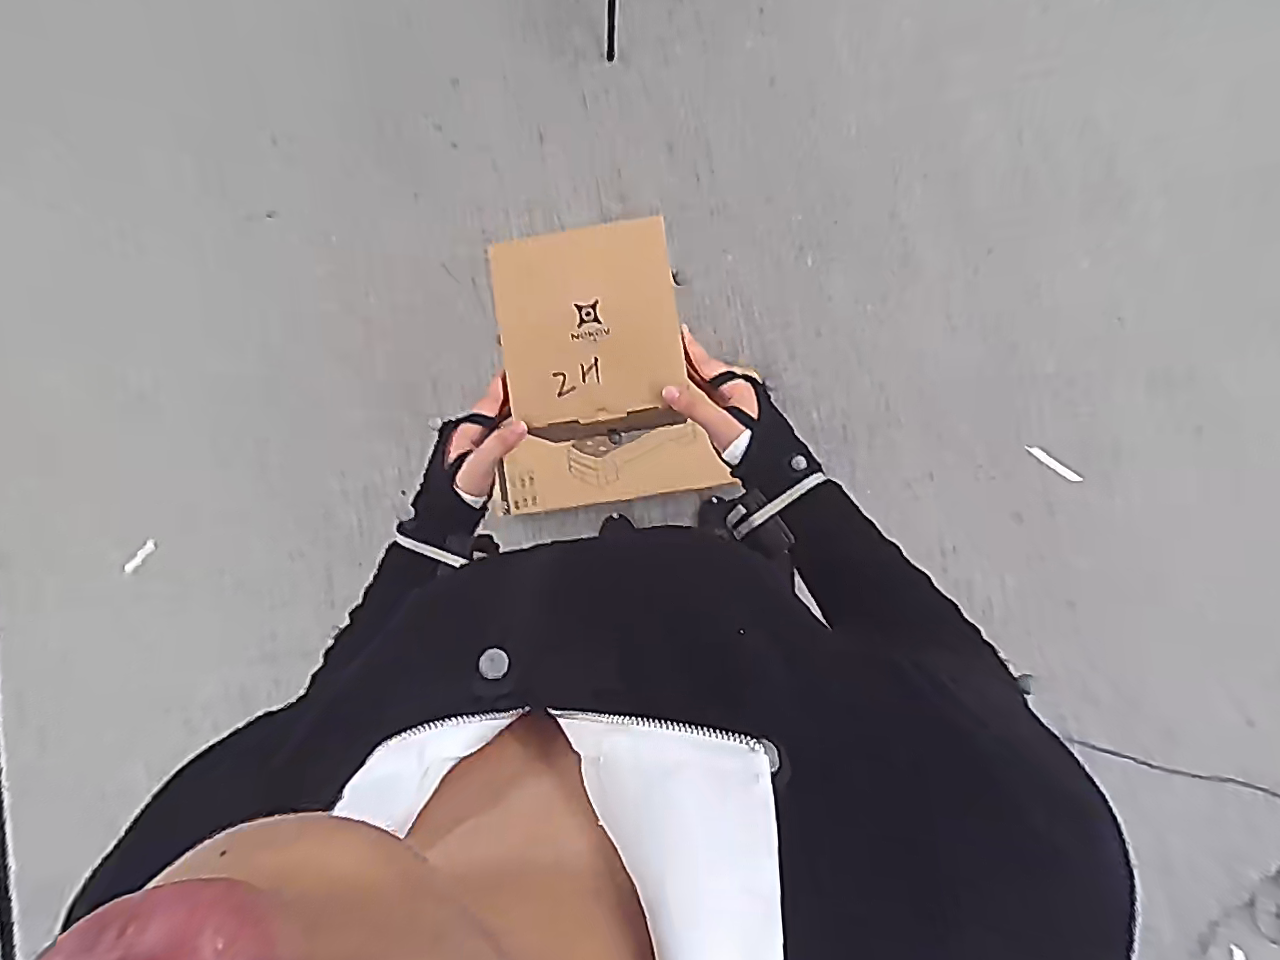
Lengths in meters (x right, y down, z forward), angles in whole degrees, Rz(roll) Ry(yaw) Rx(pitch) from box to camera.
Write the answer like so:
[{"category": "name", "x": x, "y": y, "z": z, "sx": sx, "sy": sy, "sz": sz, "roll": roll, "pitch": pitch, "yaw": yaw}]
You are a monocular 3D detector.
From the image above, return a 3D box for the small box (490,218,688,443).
[{"category": "small box", "x": -0.044, "y": -0.142, "z": 0.573, "sx": 0.168, "sy": 0.176, "sz": 0.179, "roll": -8, "pitch": 89, "yaw": 4}]
